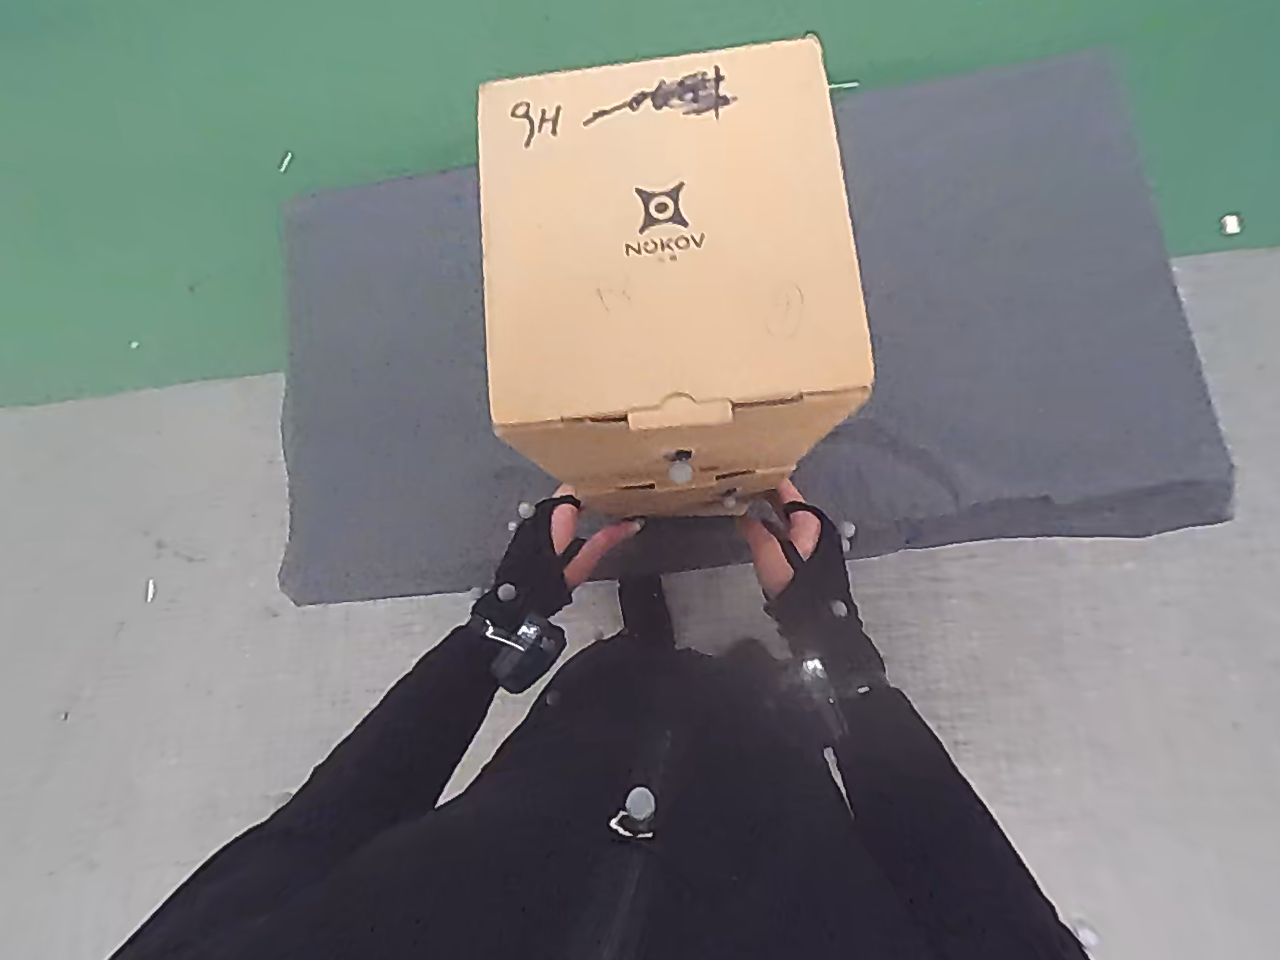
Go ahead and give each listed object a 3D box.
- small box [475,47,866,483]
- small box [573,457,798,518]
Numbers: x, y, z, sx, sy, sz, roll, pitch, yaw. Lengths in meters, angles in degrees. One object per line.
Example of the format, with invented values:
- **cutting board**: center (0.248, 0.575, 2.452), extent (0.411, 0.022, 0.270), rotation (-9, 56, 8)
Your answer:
- **small box**: center (0.015, -0.095, 0.320), extent (0.168, 0.176, 0.179), rotation (-5, 81, 4)
- **small box**: center (0.030, -0.064, 0.480), extent (0.168, 0.176, 0.179), rotation (-8, 79, 3)
